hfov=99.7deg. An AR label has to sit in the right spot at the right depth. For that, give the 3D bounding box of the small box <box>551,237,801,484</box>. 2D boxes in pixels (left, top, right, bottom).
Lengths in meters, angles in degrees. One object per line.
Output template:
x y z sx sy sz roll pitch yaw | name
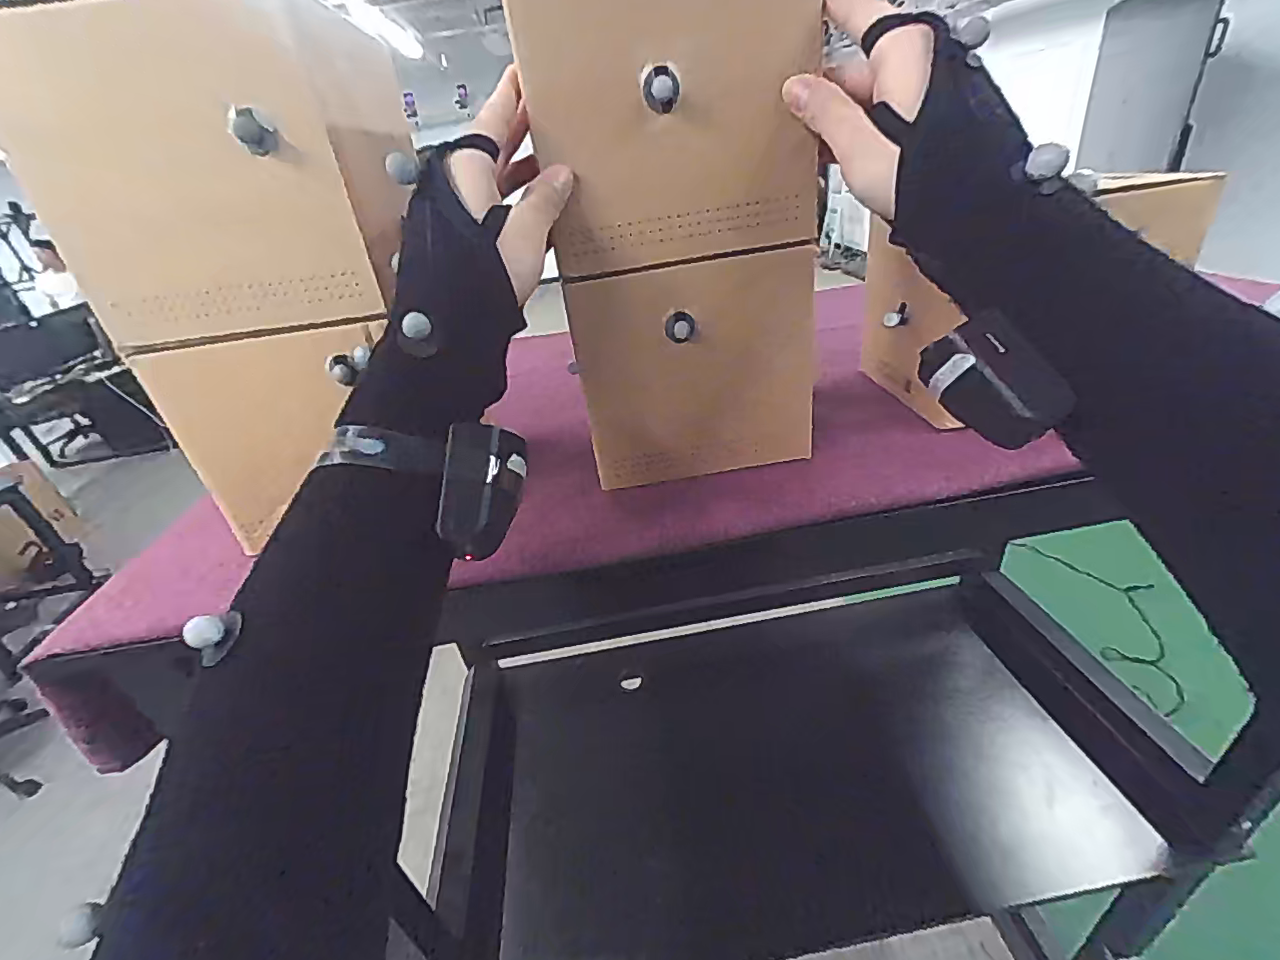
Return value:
0.032 -0.111 0.471 0.179 0.176 0.168 -9 31 0 | small box

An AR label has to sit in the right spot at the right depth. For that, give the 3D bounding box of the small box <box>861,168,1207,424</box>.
0.312 -0.162 0.476 0.179 0.176 0.168 -10 30 2 | small box

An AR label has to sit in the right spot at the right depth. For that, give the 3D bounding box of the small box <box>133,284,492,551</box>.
-0.244 -0.056 0.461 0.179 0.176 0.168 -9 30 -1 | small box

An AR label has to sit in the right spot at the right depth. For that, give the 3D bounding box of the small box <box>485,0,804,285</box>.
0.009 -0.250 0.388 0.179 0.176 0.168 -11 30 1 | small box
